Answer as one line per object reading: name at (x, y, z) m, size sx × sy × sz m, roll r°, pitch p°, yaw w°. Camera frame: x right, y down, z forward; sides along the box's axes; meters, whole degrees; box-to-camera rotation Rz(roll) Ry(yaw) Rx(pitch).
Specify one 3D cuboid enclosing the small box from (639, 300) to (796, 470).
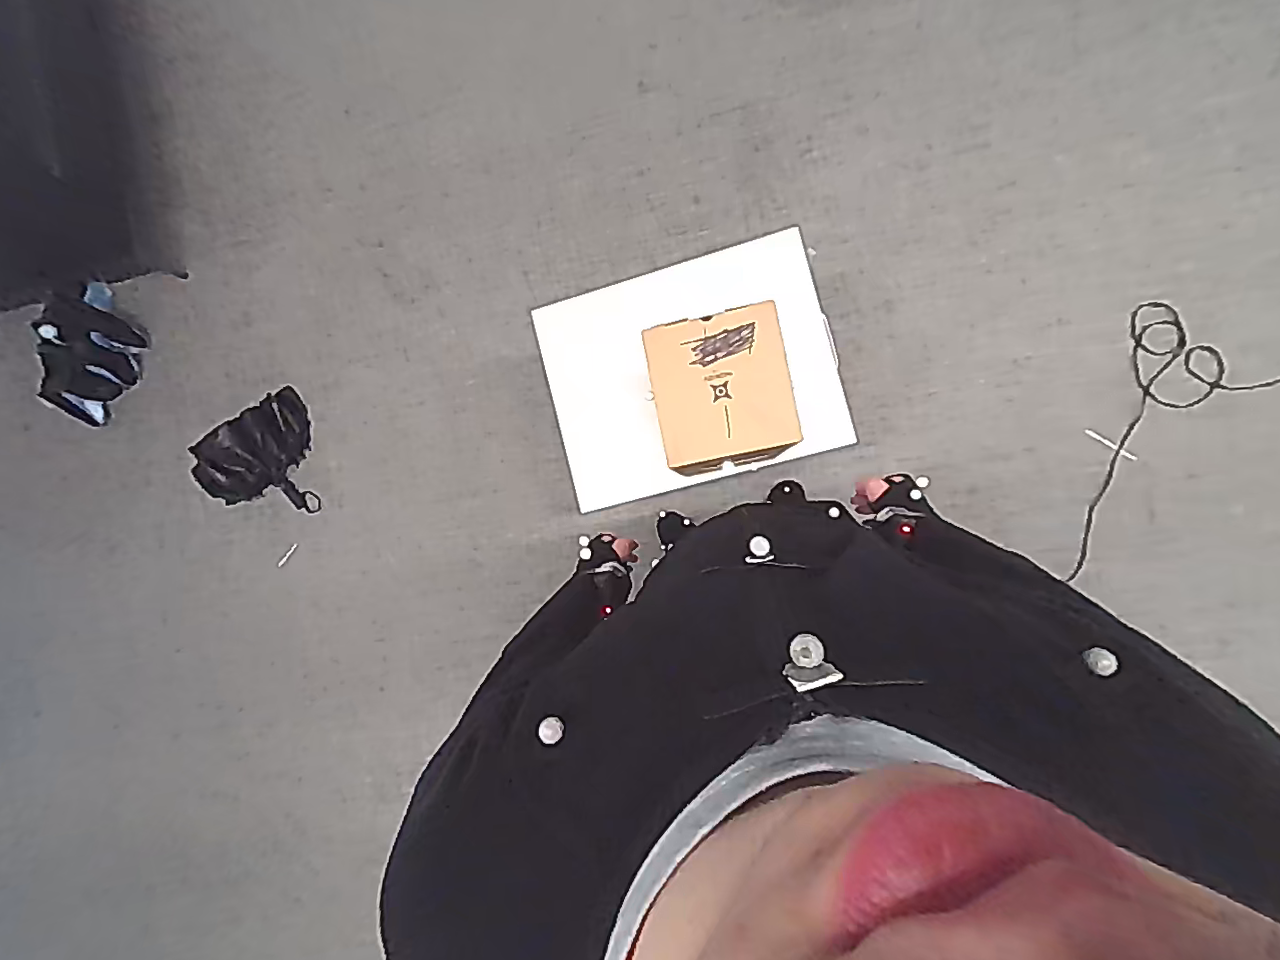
small box at (0.101, -0.116, 0.731) m, size 0.168 × 0.176 × 0.179 m, roll -11°, pitch 87°, yaw 7°
